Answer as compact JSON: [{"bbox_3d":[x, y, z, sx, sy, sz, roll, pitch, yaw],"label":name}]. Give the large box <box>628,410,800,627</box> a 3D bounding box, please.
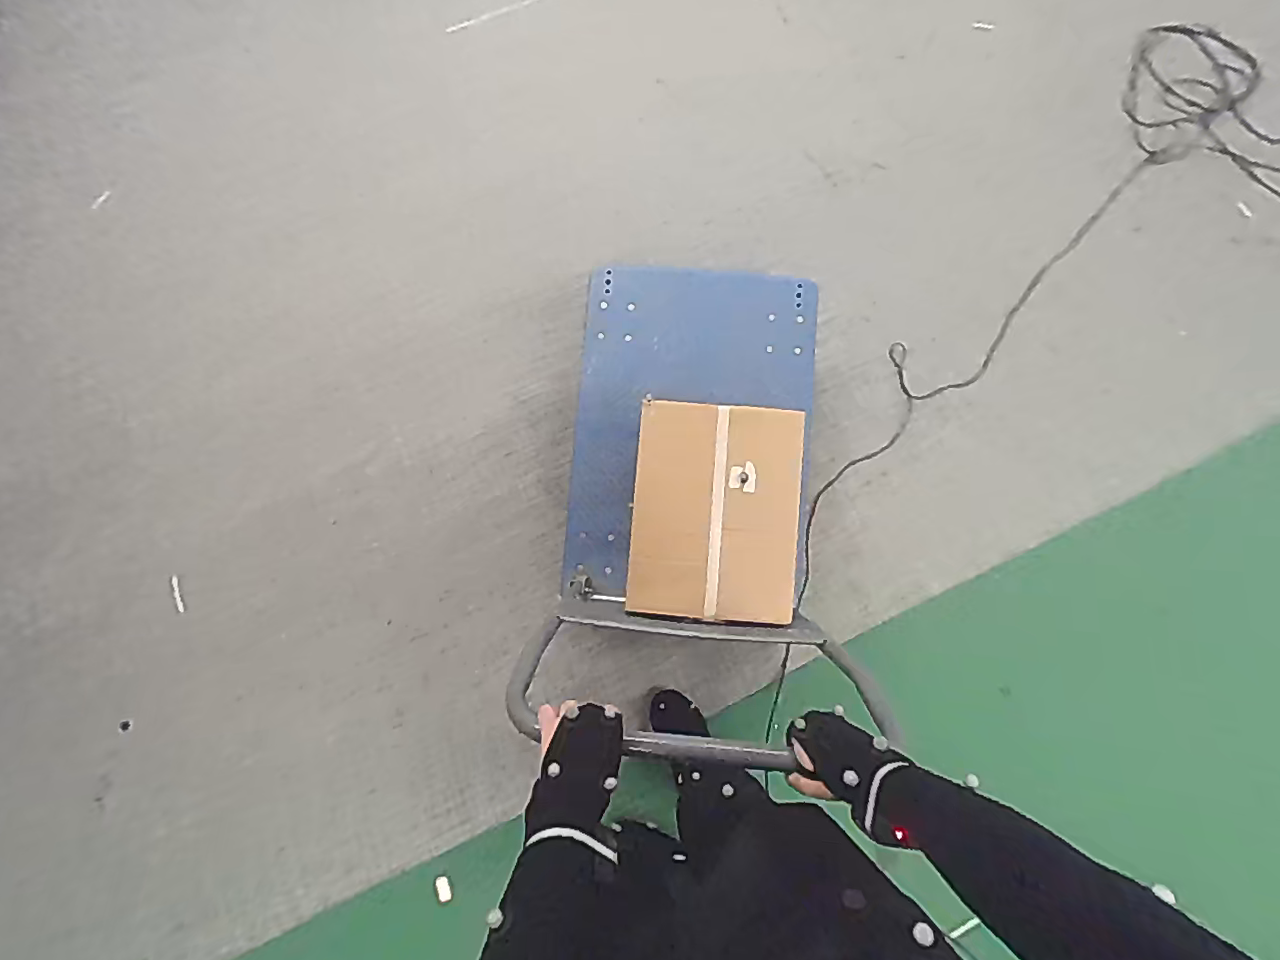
[{"bbox_3d":[0.150,0.086,1.188,0.320,0.320,0.408,5,85,2],"label":"large box"}]
